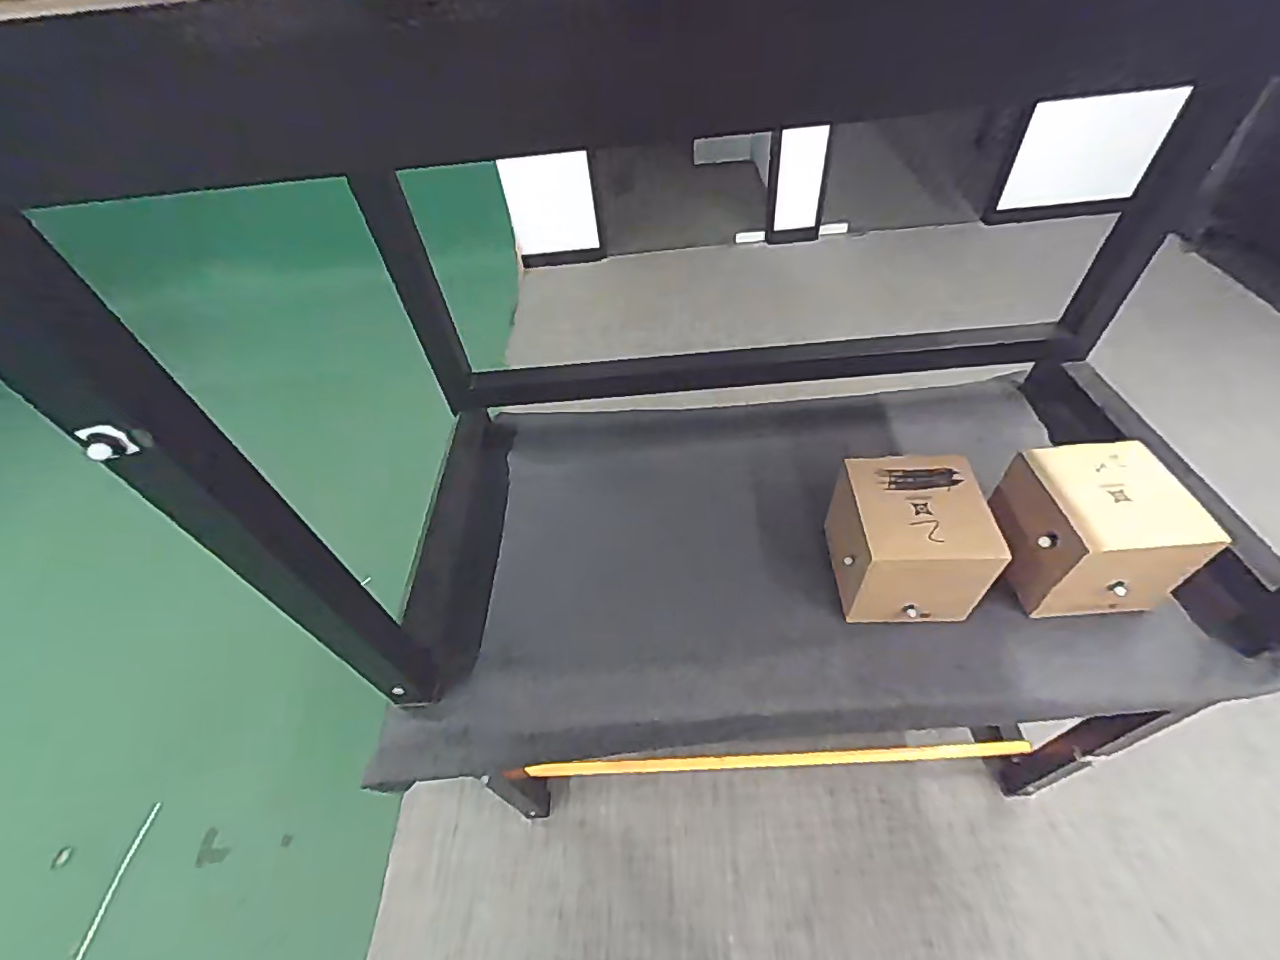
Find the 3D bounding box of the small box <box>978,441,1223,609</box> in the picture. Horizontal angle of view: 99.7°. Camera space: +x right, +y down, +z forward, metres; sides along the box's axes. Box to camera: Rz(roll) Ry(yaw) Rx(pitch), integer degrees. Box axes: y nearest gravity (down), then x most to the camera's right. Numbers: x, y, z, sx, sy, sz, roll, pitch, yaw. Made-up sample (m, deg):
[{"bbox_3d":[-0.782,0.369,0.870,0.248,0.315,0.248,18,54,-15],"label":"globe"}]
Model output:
[{"bbox_3d":[0.620,0.070,0.761,0.168,0.176,0.179,-4,48,2],"label":"small box"}]
